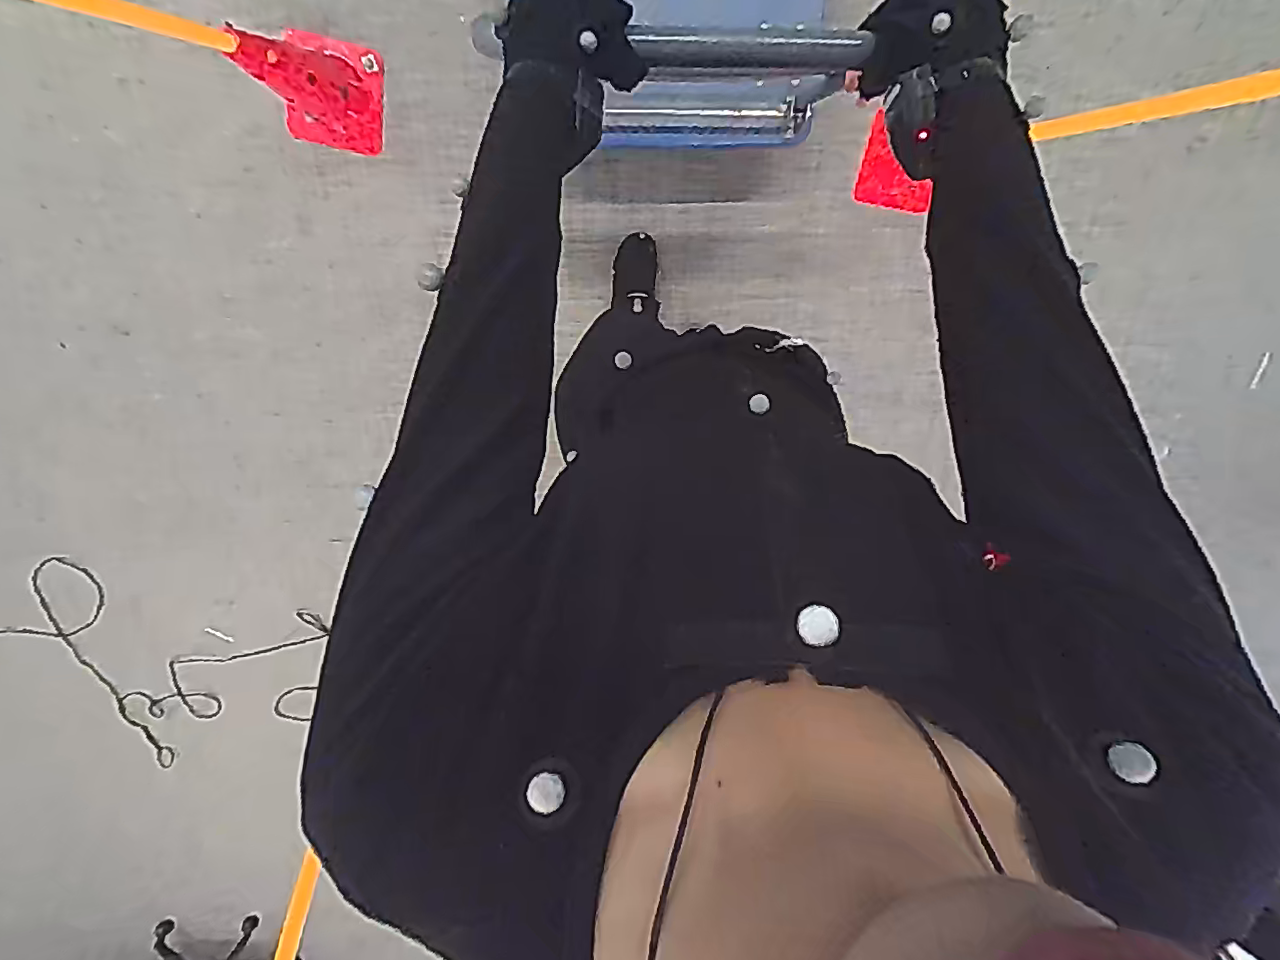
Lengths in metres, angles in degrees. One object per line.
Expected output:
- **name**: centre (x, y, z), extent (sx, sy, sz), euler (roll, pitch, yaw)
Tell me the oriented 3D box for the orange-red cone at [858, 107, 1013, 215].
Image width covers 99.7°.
- **orange-red cone**: centre (0.635, -0.674, 1.112), extent (0.198, 0.360, 0.199), euler (8, 114, -6)
